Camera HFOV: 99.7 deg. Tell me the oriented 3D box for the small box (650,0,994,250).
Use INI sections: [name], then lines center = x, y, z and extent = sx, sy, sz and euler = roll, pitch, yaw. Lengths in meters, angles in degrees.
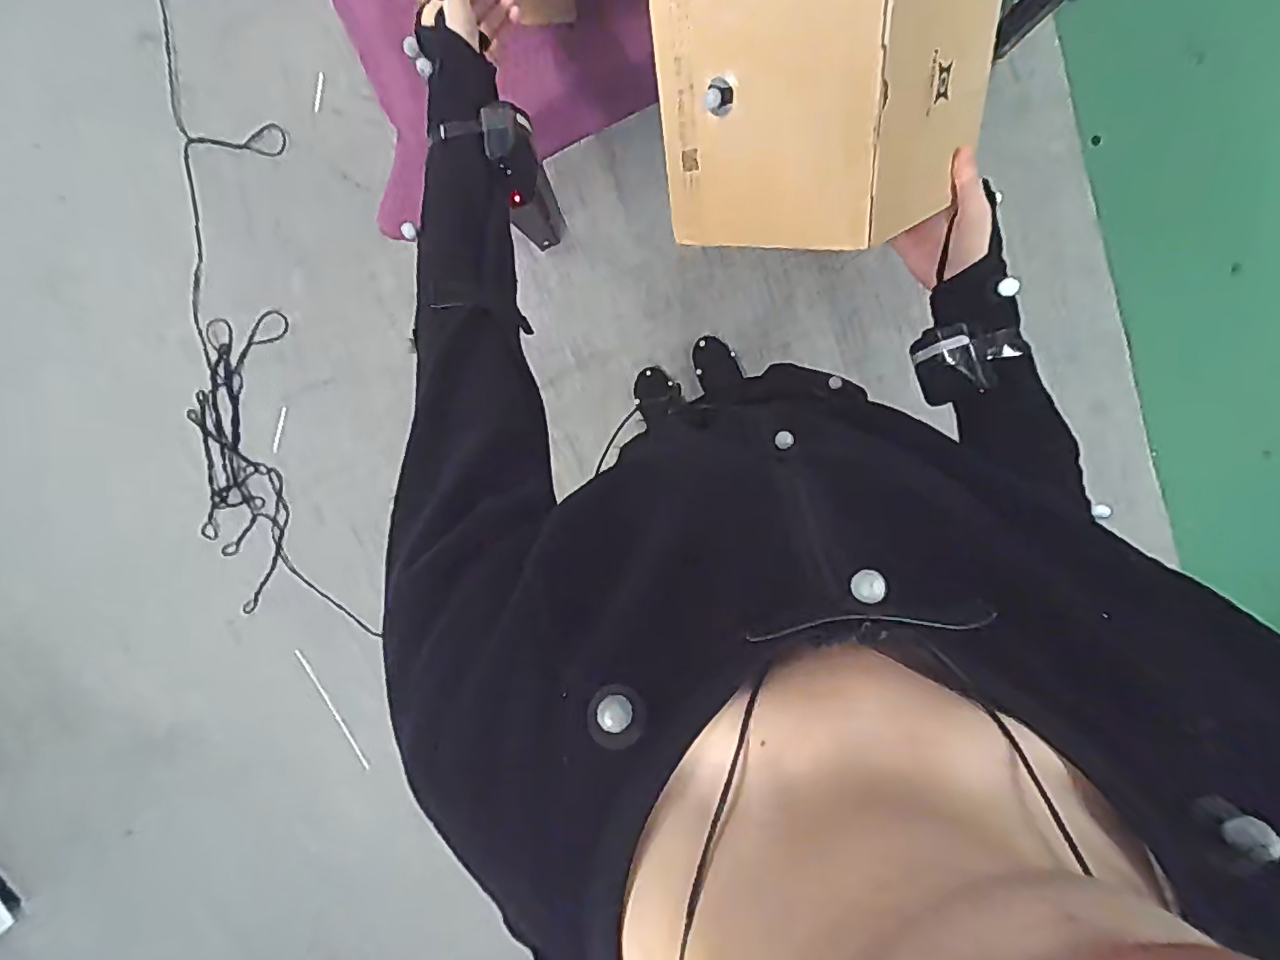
[small box]
center = 0.131, -0.279, 0.397
extent = 0.176, 0.179, 0.168
euler = 23, 136, 40
